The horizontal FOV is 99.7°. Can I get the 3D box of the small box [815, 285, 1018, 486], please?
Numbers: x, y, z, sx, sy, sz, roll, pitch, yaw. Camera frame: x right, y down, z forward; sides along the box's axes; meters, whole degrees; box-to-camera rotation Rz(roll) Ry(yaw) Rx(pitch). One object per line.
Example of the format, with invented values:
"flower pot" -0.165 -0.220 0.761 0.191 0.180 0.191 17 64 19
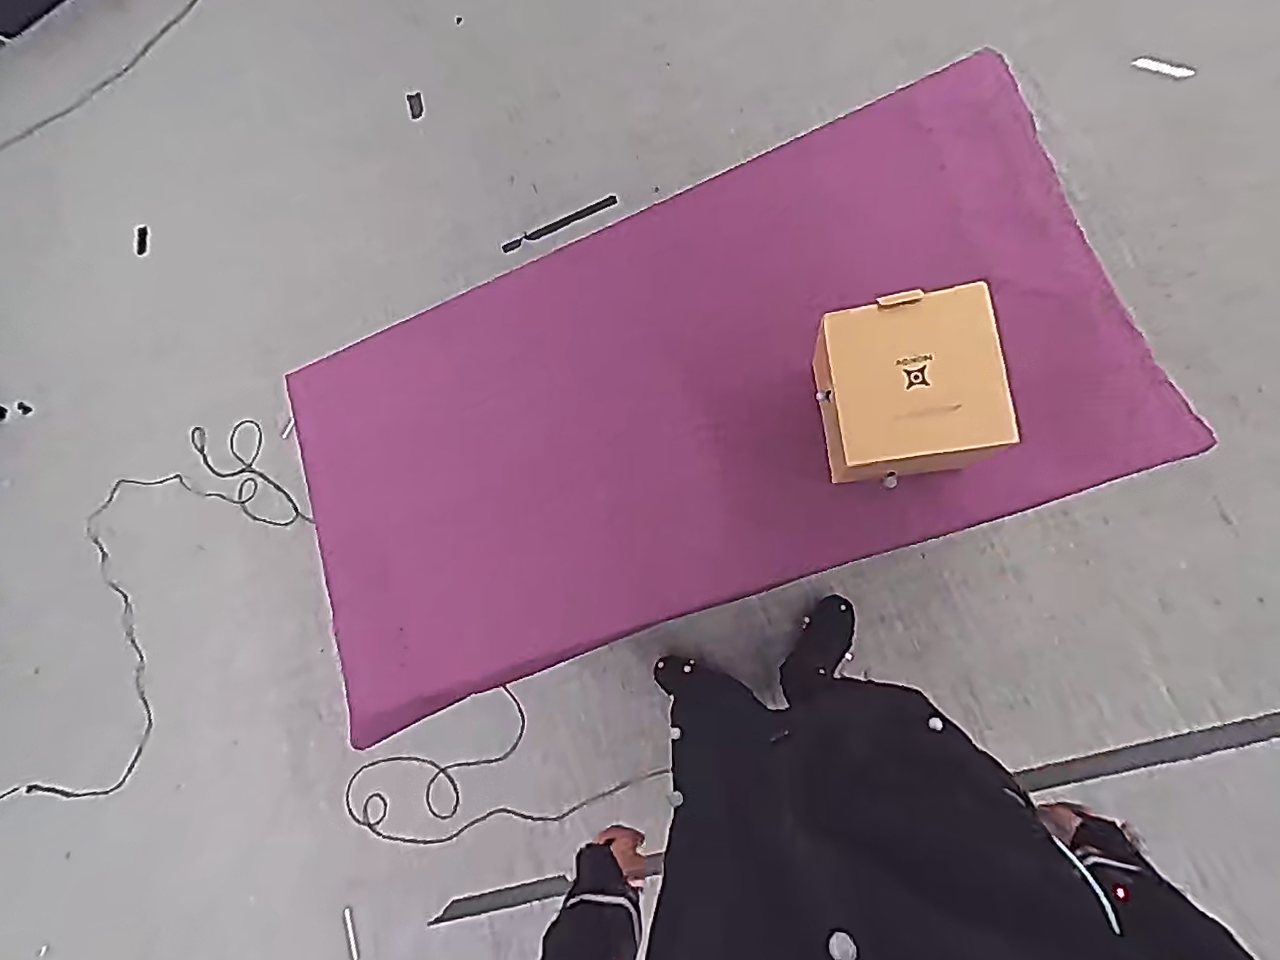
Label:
"small box" 0.305 -0.096 0.638 0.168 0.176 0.179 -8 81 14
